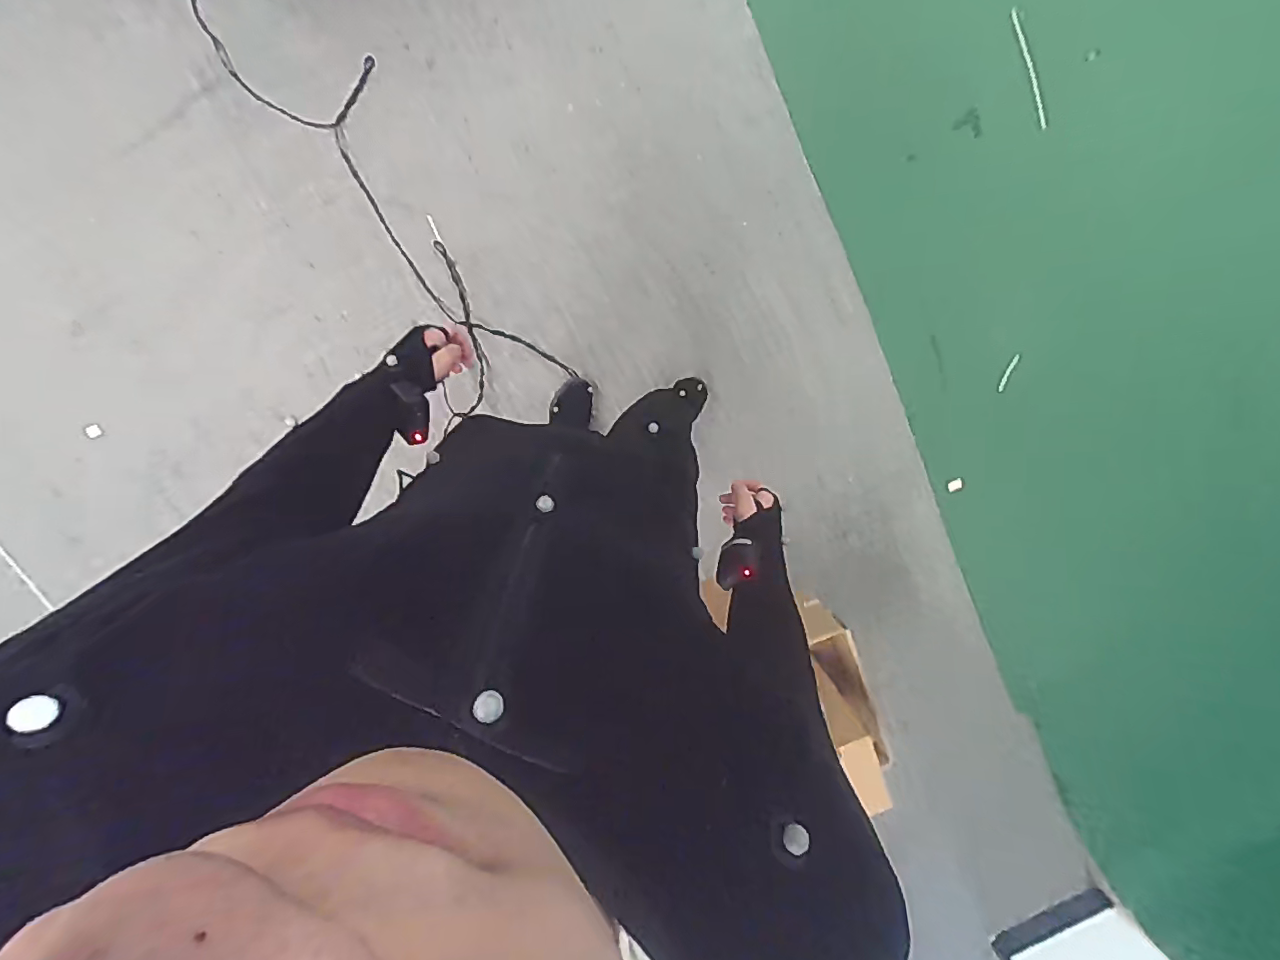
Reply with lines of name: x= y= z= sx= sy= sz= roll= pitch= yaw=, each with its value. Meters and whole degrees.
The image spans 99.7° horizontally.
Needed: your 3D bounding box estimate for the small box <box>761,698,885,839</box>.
small box: x=0.367 y=0.580 z=1.114 sx=0.168 sy=0.176 sz=0.179 roll=-21 pitch=103 yaw=1
